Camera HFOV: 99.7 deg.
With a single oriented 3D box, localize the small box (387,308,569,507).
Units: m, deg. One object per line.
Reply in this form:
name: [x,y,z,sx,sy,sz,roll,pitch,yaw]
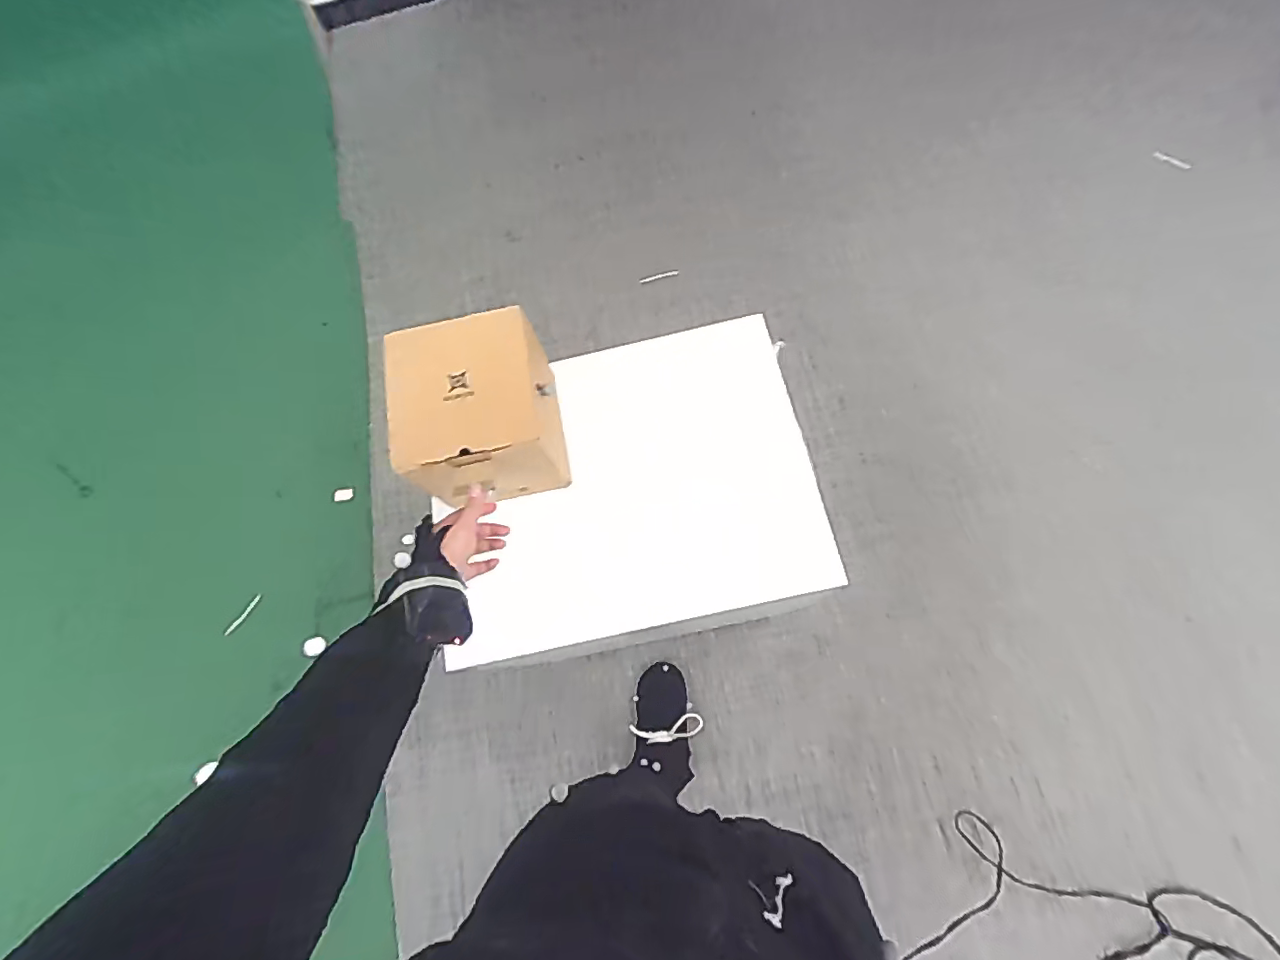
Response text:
small box: [-0.194,-0.081,0.678,0.168,0.176,0.179,-12,73,1]
